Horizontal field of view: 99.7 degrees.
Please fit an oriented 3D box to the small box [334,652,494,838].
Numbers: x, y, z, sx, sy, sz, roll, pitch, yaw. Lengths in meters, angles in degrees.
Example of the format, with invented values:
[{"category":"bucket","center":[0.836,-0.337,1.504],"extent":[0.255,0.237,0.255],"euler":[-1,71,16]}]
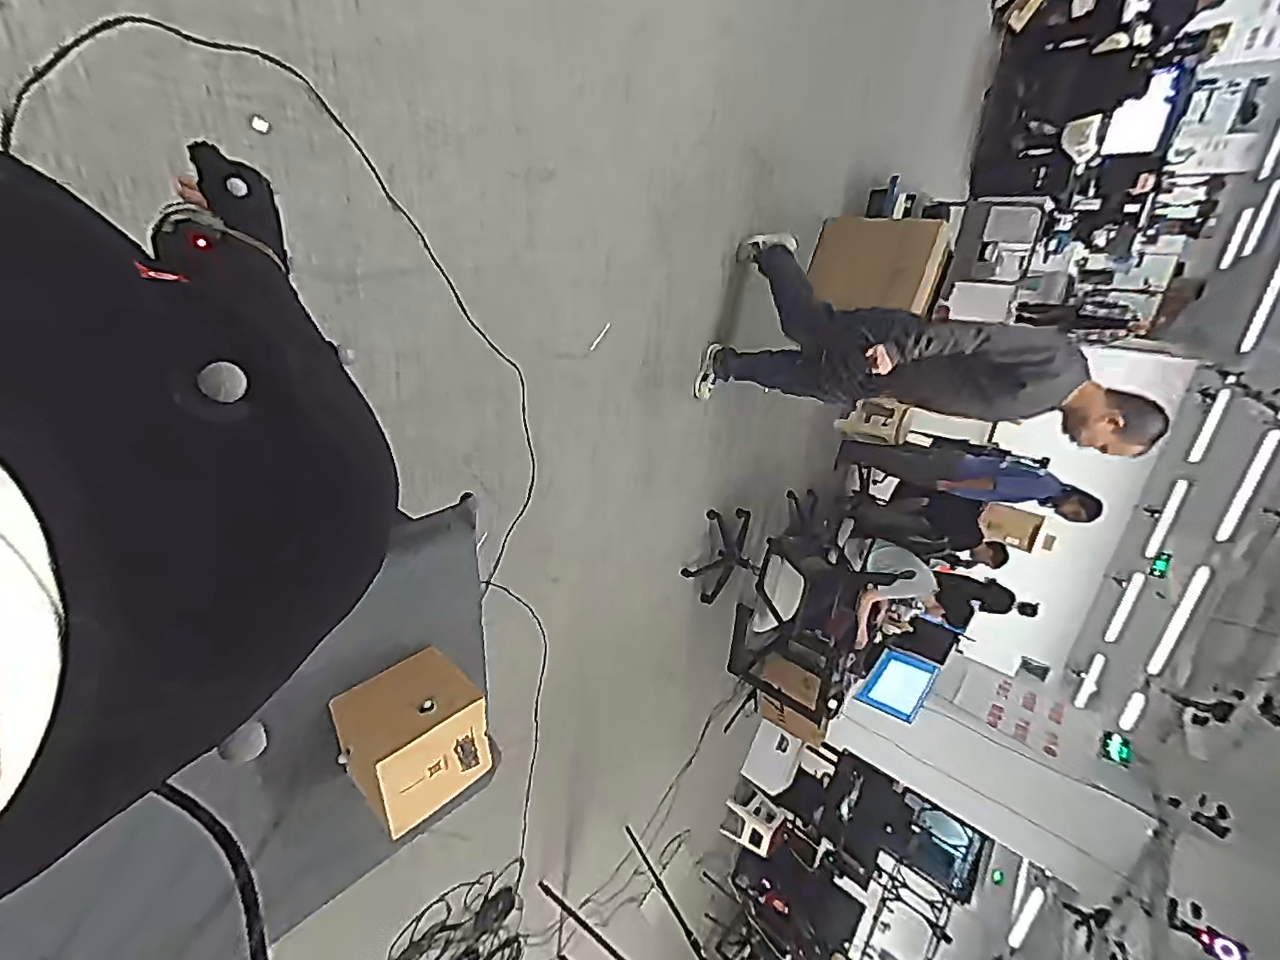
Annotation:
[{"category":"small box","center":[-0.365,0.416,0.884],"extent":[0.179,0.176,0.168],"euler":[-23,124,-43]}]
